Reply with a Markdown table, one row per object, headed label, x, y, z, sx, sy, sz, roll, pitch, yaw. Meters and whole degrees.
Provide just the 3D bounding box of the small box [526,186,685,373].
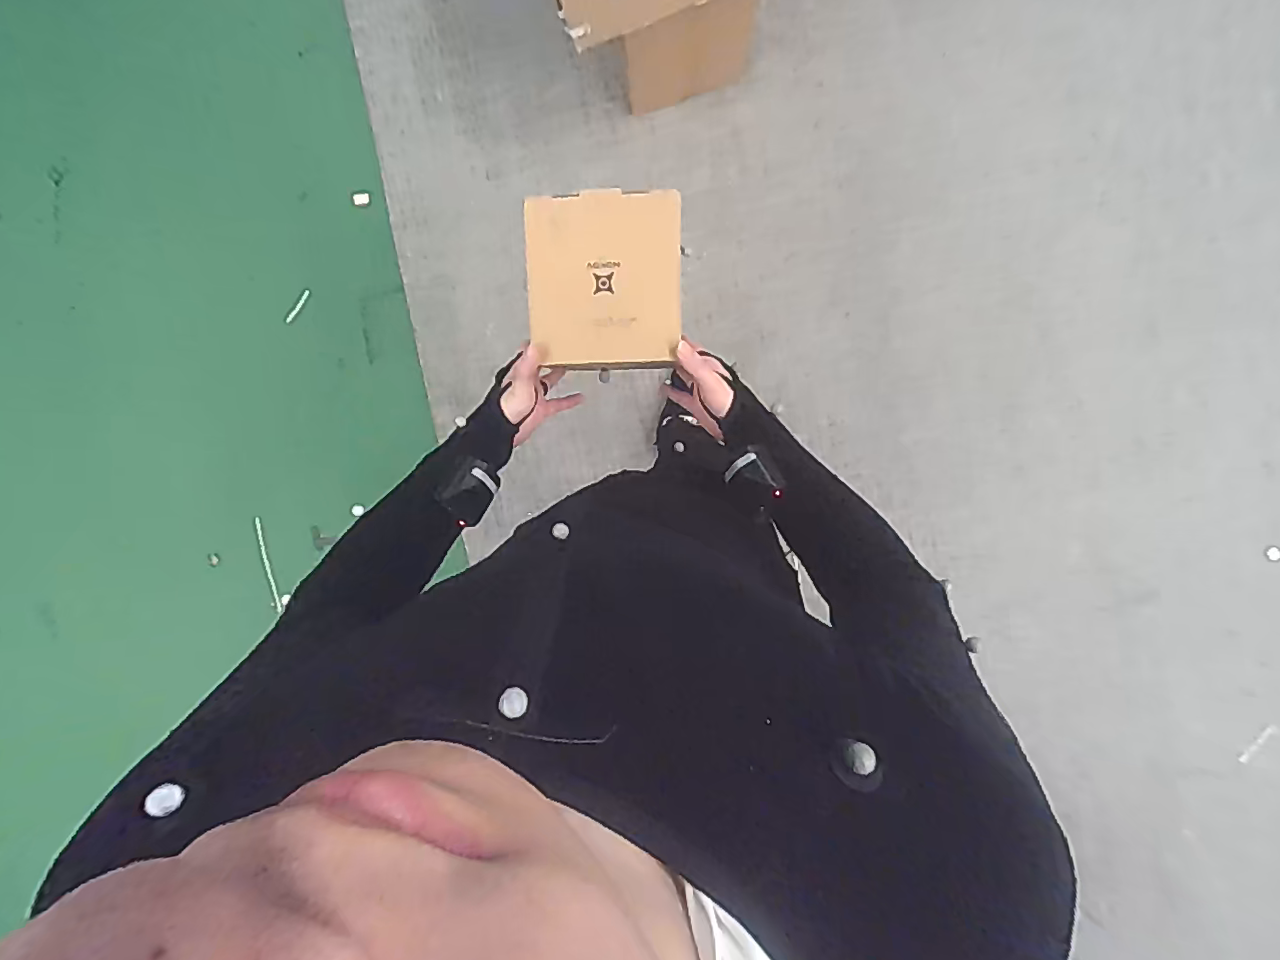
| label | x | y | z | sx | sy | sz | roll | pitch | yaw |
| --- | --- | --- | --- | --- | --- | --- | --- | --- | --- |
| small box | -0.033 | -0.221 | 0.638 | 0.168 | 0.176 | 0.179 | -1 | 98 | 3 |
